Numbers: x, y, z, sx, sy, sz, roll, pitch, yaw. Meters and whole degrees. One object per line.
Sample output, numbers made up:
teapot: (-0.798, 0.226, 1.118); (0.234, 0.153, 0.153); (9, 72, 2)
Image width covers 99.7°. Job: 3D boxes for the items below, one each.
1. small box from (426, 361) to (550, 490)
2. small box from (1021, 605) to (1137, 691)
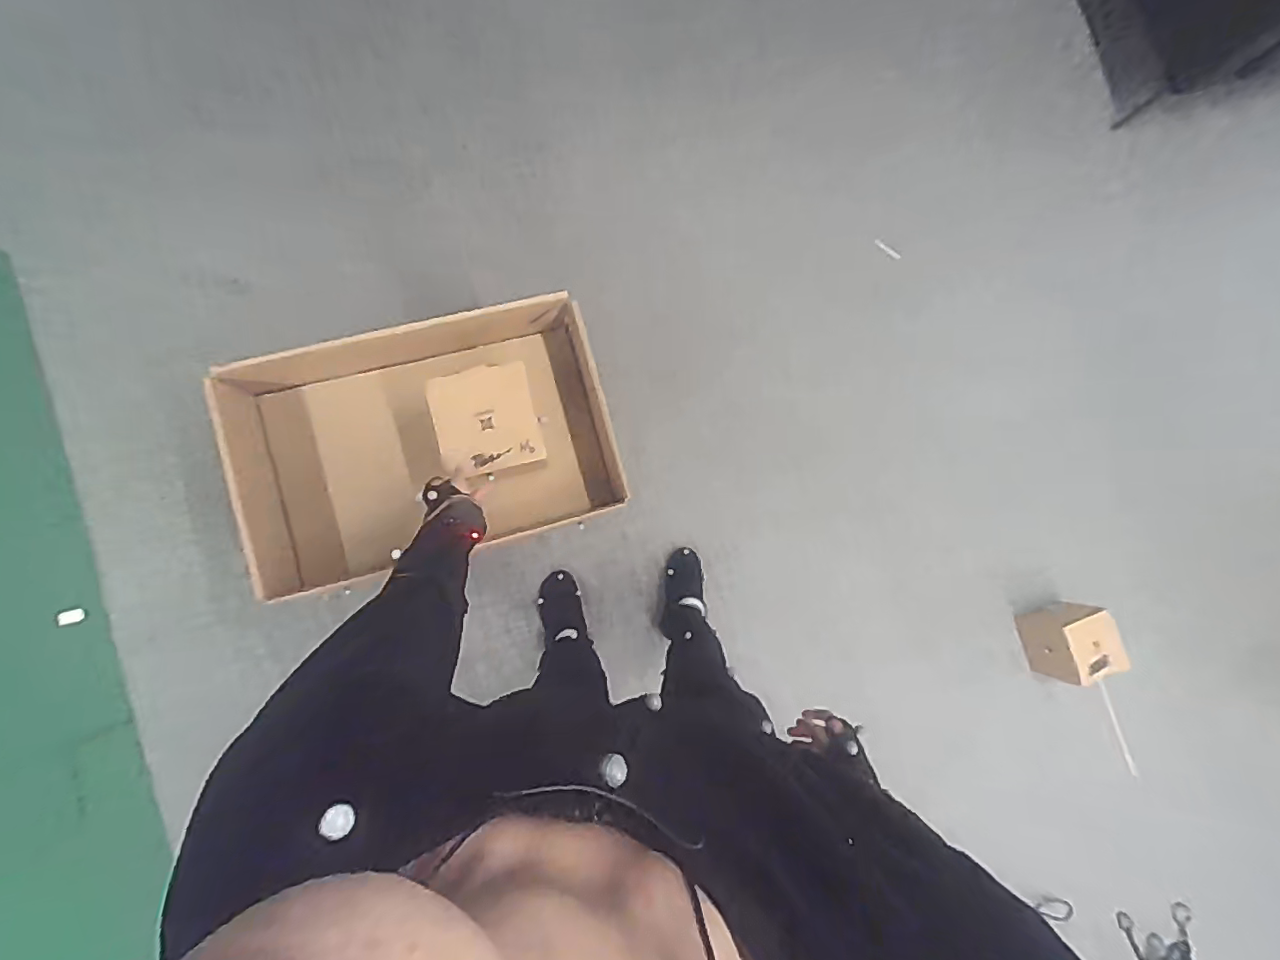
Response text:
small box: (-0.260, -0.089, 0.957); (0.168, 0.176, 0.179); (-14, 86, -8)
small box: (1.256, 0.475, 1.559); (0.168, 0.176, 0.179); (-17, 86, -10)
